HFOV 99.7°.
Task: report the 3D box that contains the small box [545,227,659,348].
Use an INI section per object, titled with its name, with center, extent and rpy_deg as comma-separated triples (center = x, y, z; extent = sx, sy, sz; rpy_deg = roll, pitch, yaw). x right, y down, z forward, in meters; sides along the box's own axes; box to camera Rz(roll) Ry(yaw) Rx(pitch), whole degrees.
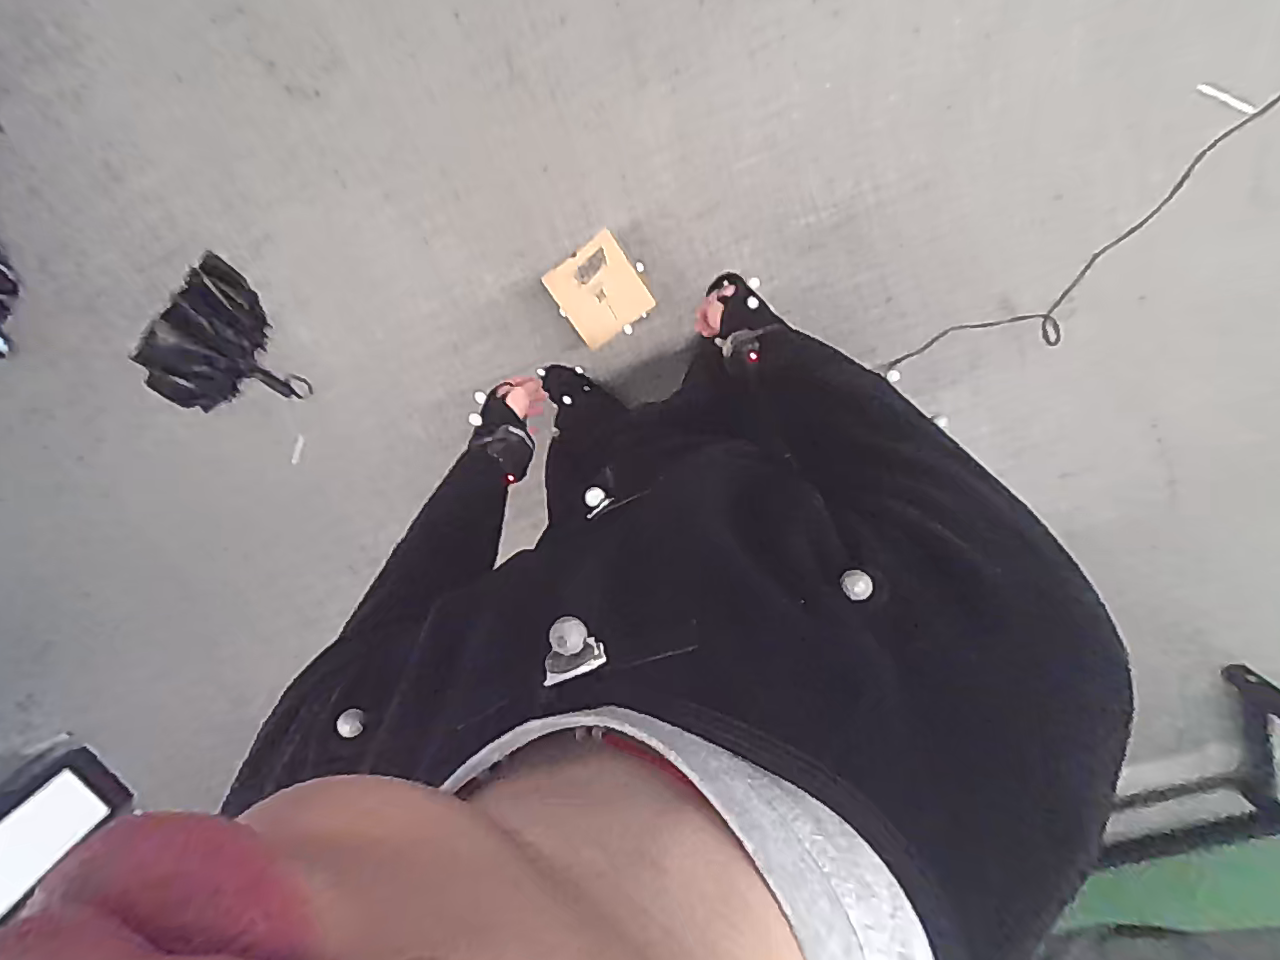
[small box]
center = -0.075, -0.408, 1.154
extent = 0.168, 0.176, 0.179
rpy_deg = -32, 107, 14
